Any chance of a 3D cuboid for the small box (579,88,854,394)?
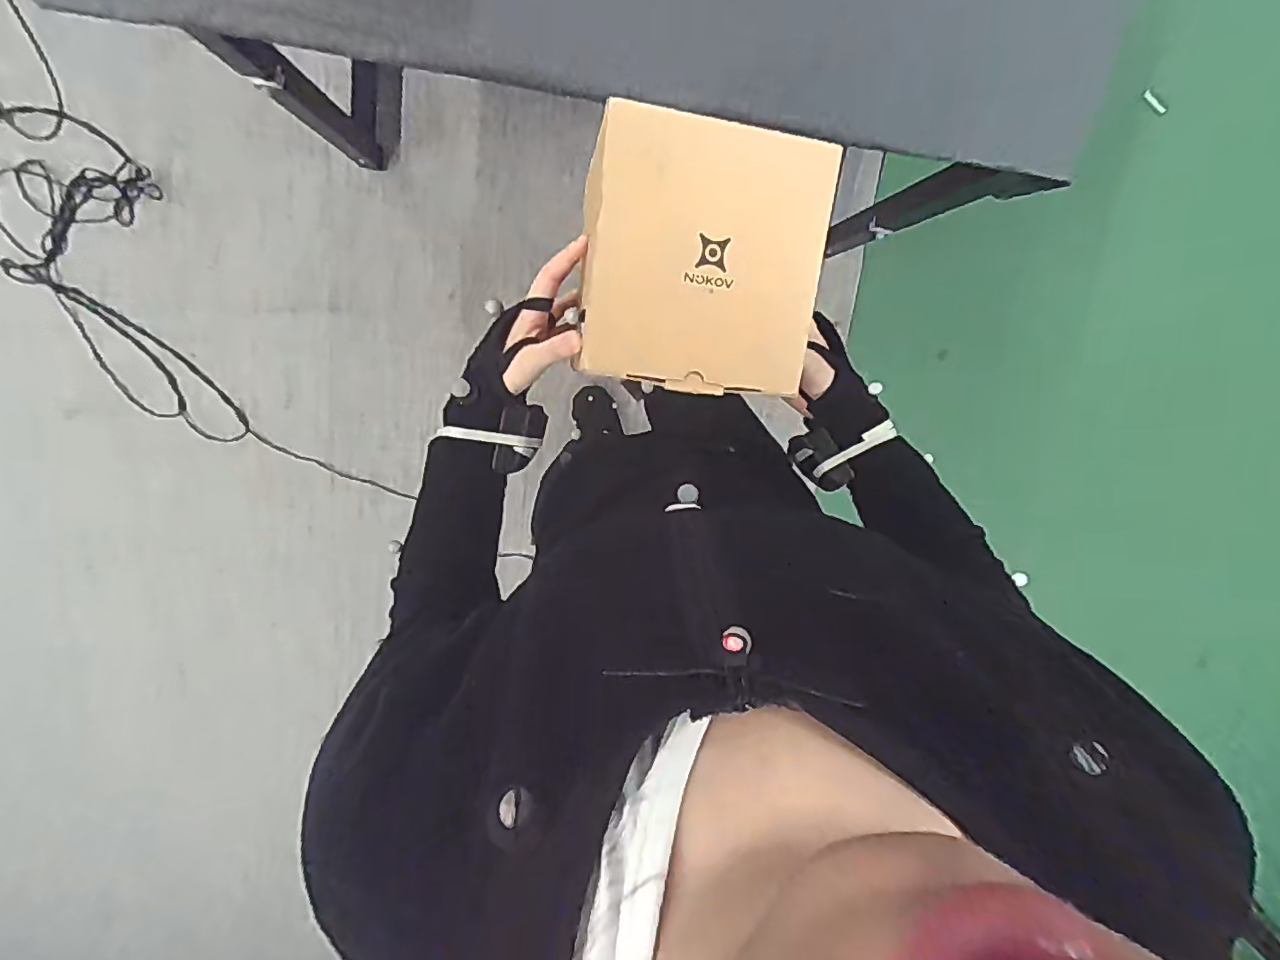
[{"bbox_3d":[0.043,-0.171,0.445,0.168,0.176,0.179,4,102,-12],"label":"small box"}]
